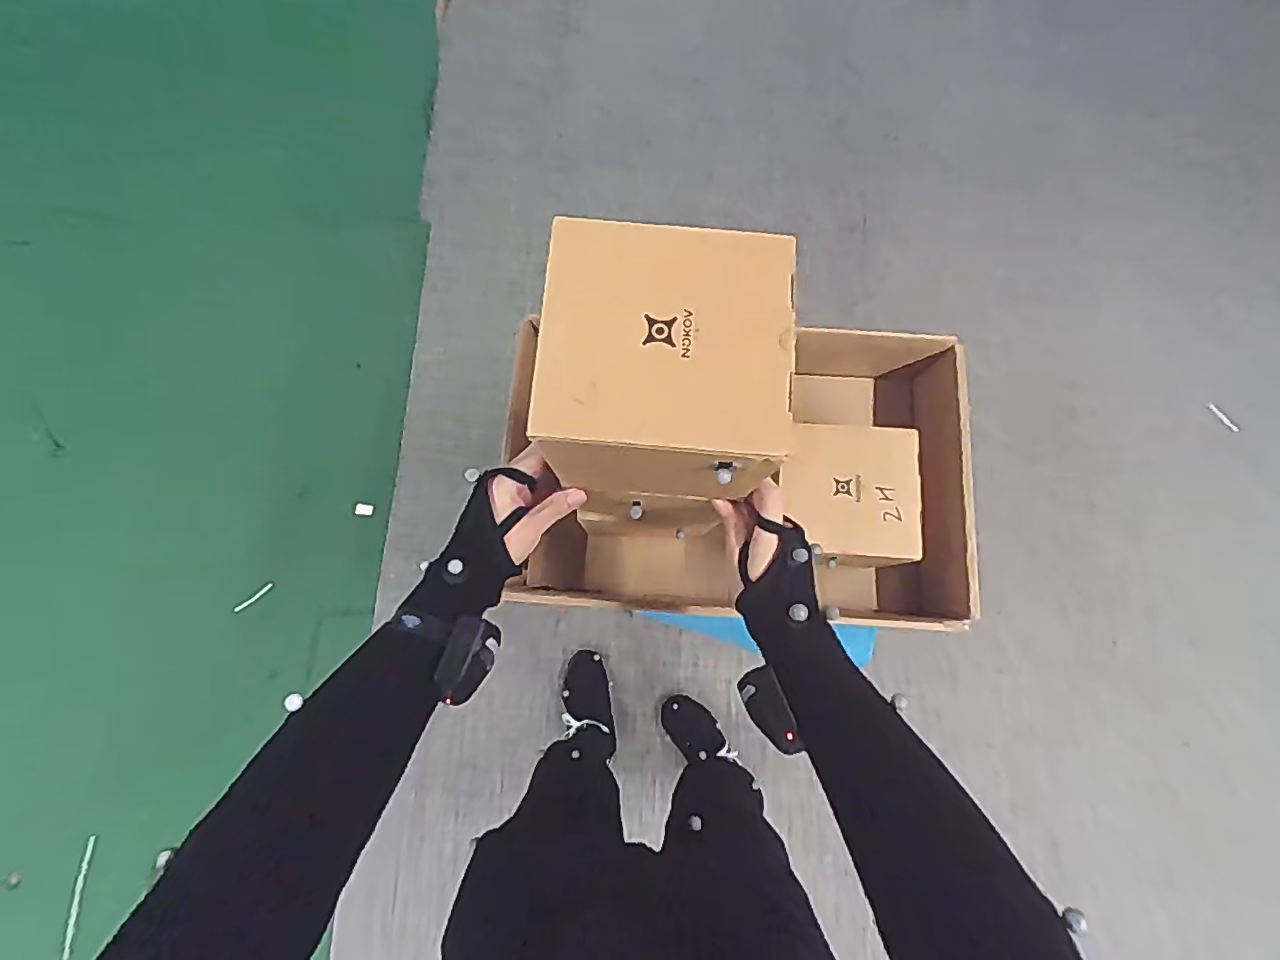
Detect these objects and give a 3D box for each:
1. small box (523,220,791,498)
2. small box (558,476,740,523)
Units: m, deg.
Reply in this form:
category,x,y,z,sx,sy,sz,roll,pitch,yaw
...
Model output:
category,x,y,z,sx,sy,sz,roll,pitch,yaw
small box,0.014,-0.083,0.448,0.179,0.176,0.168,4,78,-1
small box,0.016,-0.047,0.607,0.179,0.176,0.168,5,78,1
